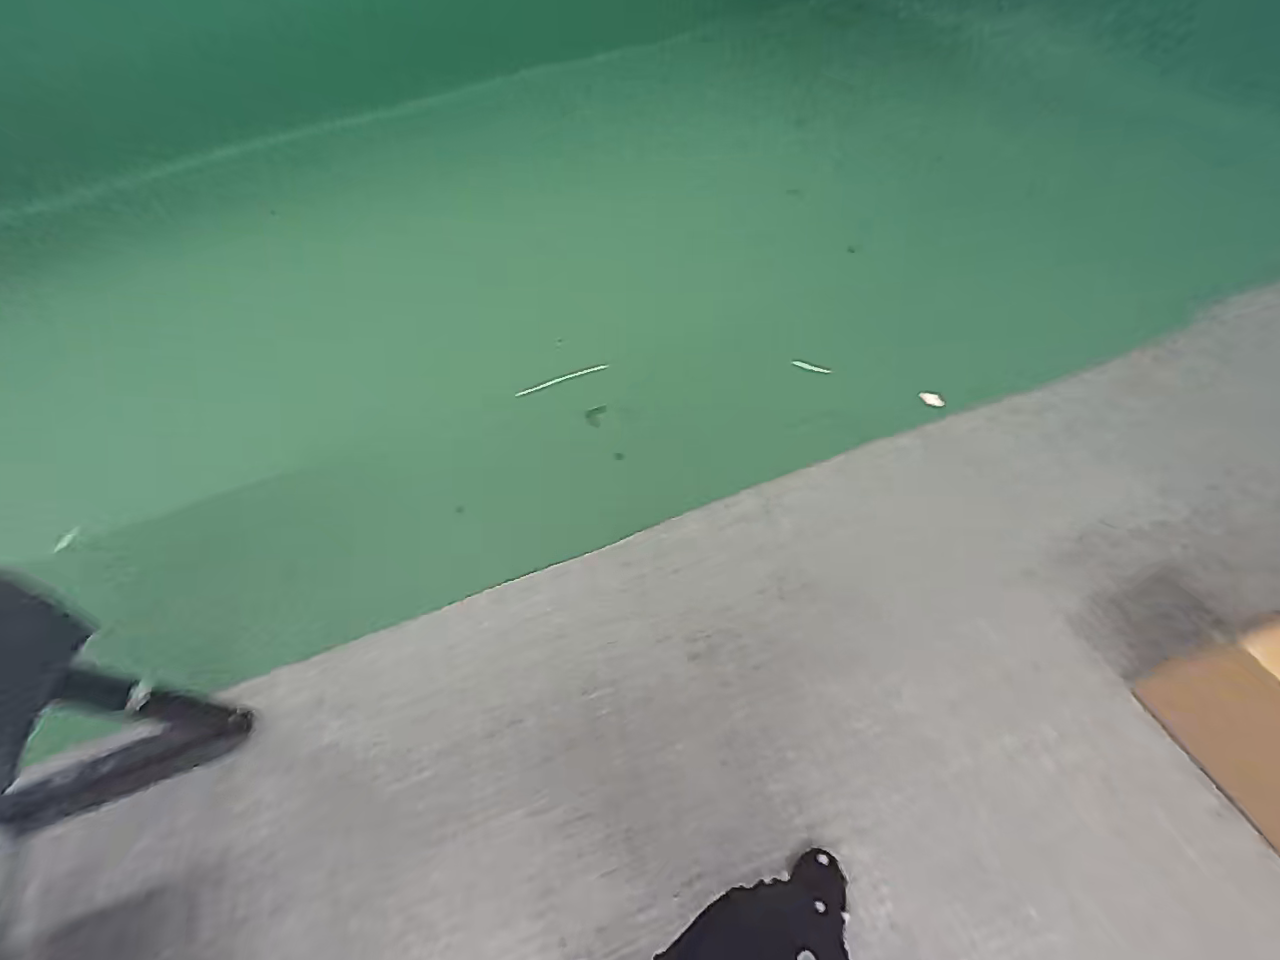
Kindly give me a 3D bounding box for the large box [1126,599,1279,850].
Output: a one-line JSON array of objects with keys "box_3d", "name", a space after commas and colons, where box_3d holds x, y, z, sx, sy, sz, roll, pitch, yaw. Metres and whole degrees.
[{"box_3d": [1.249, 0.447, 0.970, 0.320, 0.320, 0.408, -24, 58, -8], "name": "large box"}]
